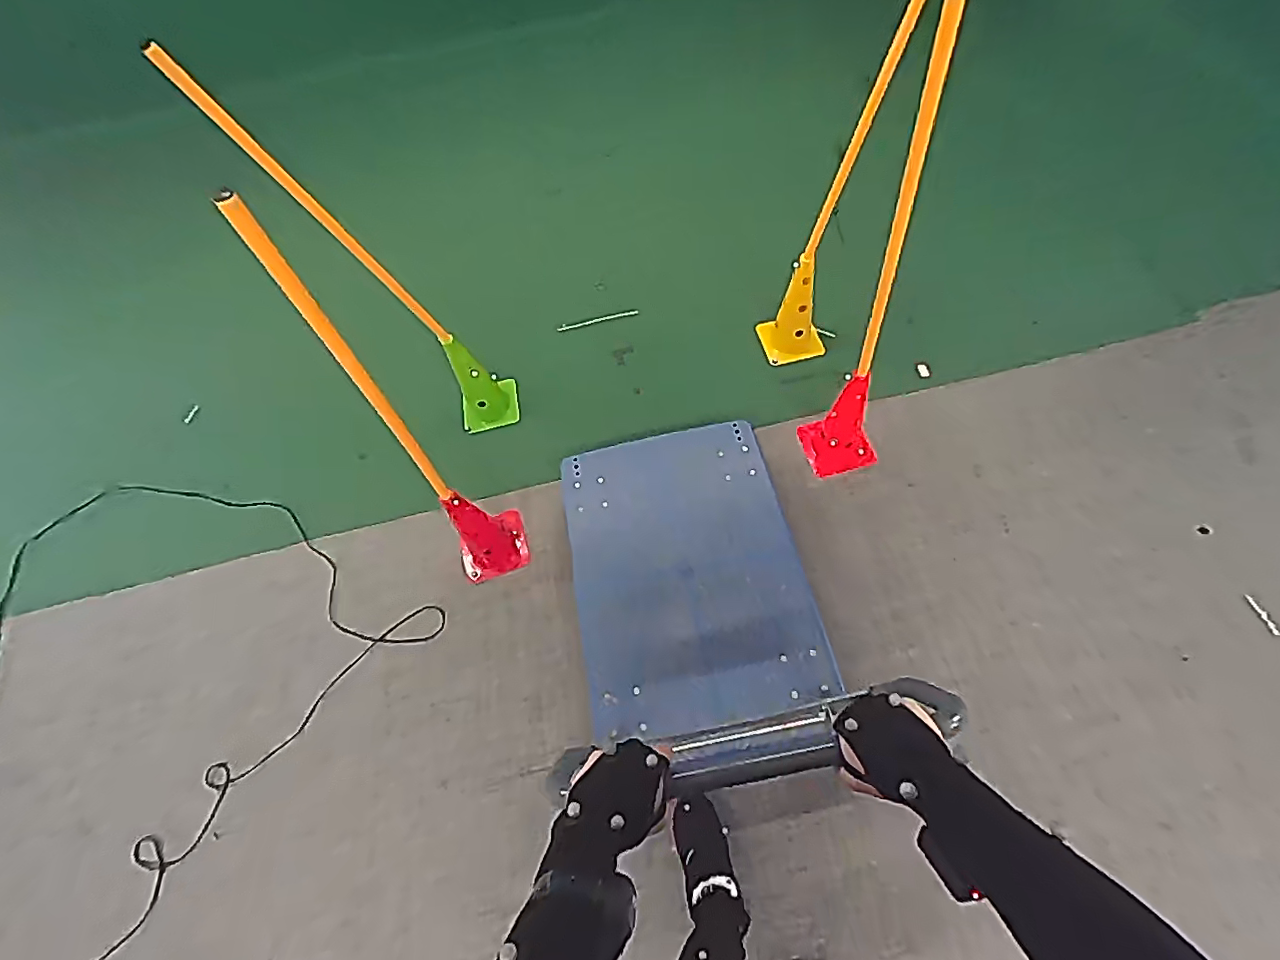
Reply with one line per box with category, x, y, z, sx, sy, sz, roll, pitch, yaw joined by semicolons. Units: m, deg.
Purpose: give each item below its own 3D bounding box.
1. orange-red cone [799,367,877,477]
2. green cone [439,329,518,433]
orange-red cone;0.599;-0.191;1.547;0.198;0.360;0.199;-13;59;-1
green cone;-0.557;-0.348;1.778;0.200;0.368;0.202;-14;60;0
